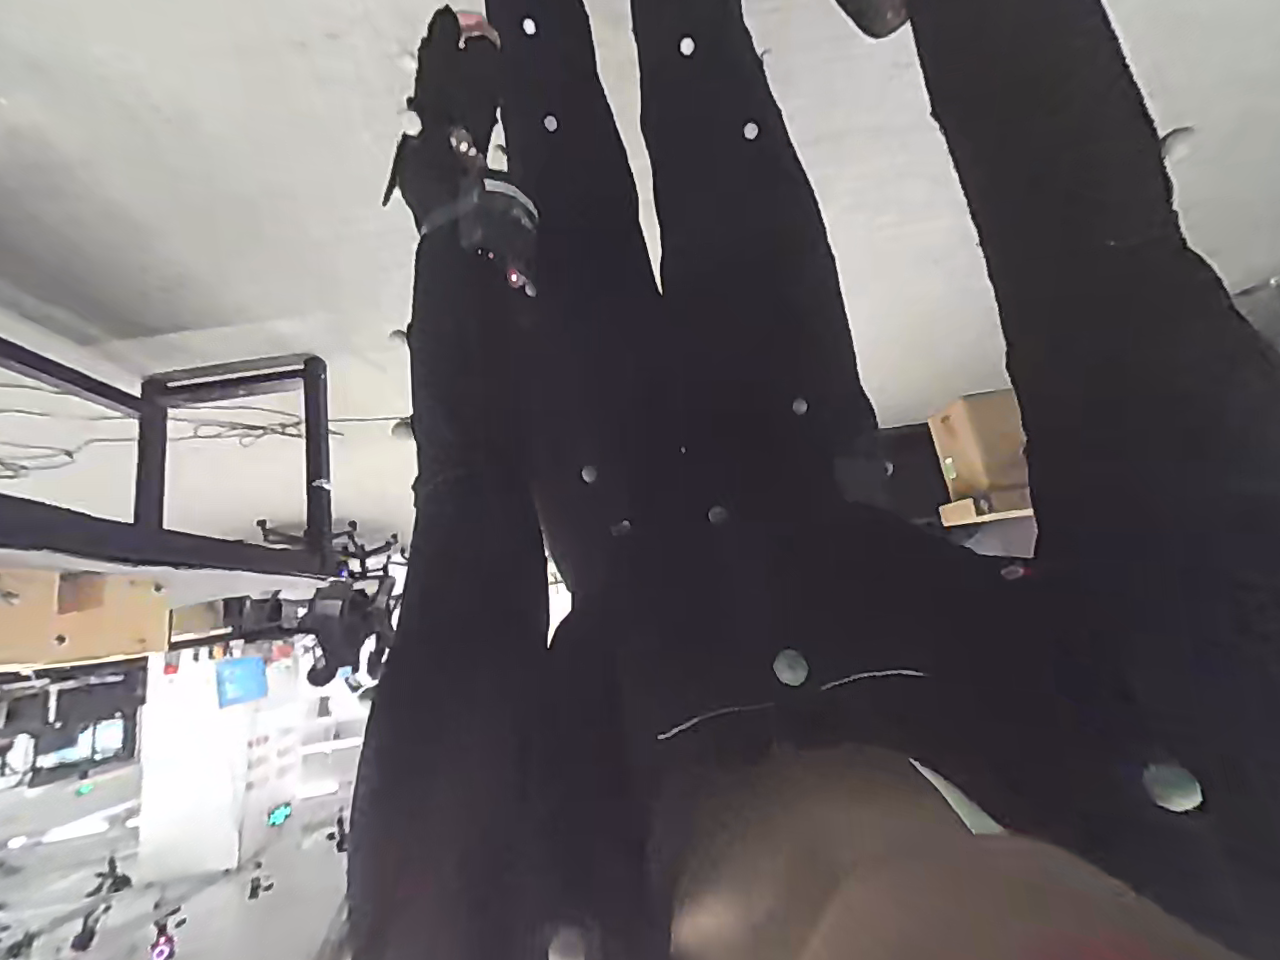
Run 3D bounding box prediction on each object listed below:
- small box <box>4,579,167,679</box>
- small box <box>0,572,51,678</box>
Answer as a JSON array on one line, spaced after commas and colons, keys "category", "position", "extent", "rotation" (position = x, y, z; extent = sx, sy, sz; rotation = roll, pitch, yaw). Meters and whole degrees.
[{"category": "small box", "position": [-1.129, 0.300, 1.115], "extent": [0.179, 0.176, 0.168], "rotation": [-7, 166, -4]}, {"category": "small box", "position": [-1.127, 0.243, 0.879], "extent": [0.179, 0.176, 0.168], "rotation": [-9, 167, -2]}]
